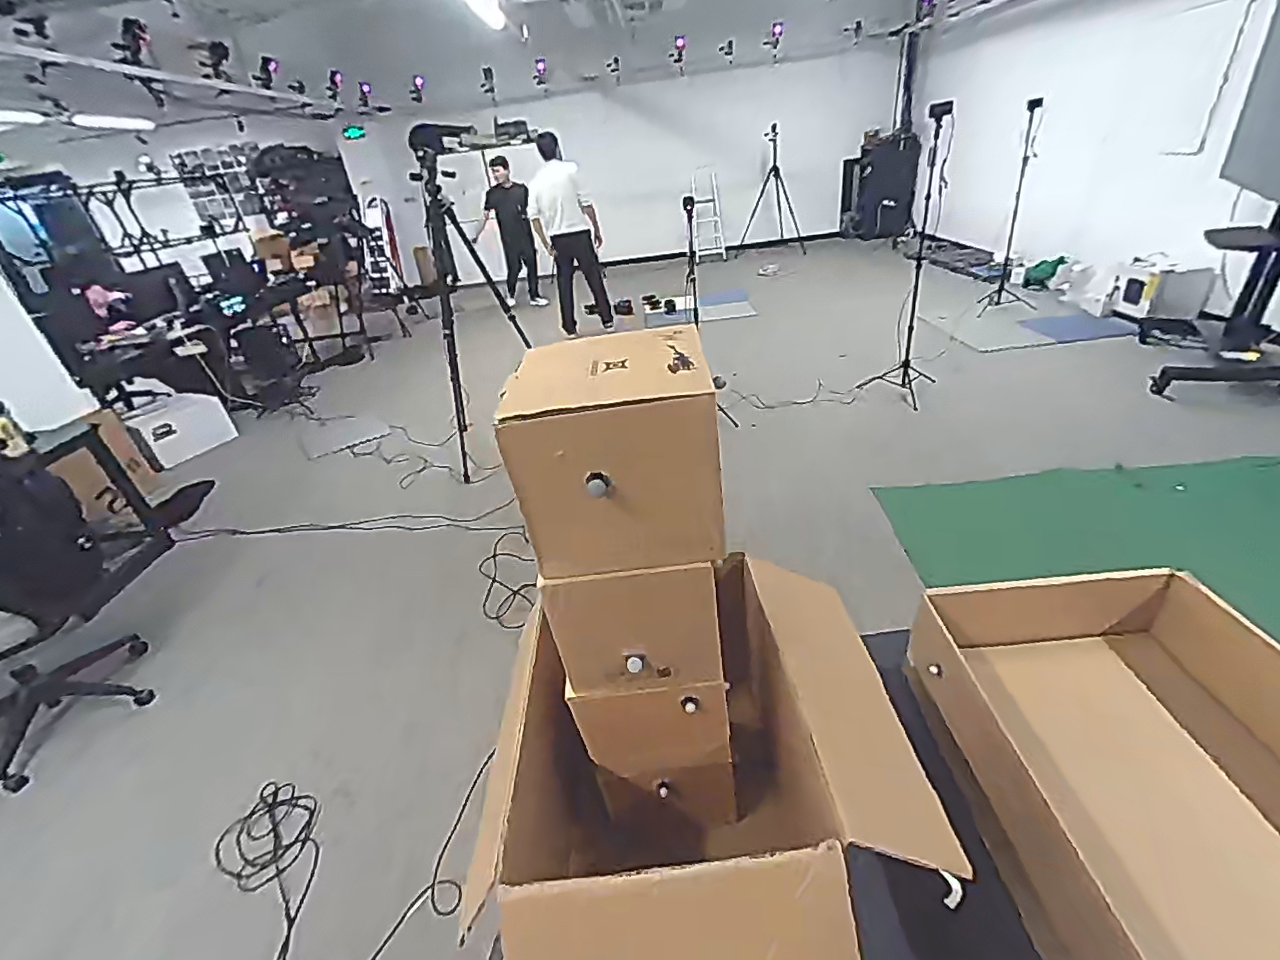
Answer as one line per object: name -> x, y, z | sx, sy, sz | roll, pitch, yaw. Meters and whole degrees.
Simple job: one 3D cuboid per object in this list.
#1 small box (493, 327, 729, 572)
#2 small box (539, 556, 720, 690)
small box -> -0.016, -0.028, 0.518 | 0.179, 0.176, 0.168 | -7, 34, 5
small box -> -0.004, 0.108, 0.609 | 0.168, 0.176, 0.179 | -7, 35, 4
